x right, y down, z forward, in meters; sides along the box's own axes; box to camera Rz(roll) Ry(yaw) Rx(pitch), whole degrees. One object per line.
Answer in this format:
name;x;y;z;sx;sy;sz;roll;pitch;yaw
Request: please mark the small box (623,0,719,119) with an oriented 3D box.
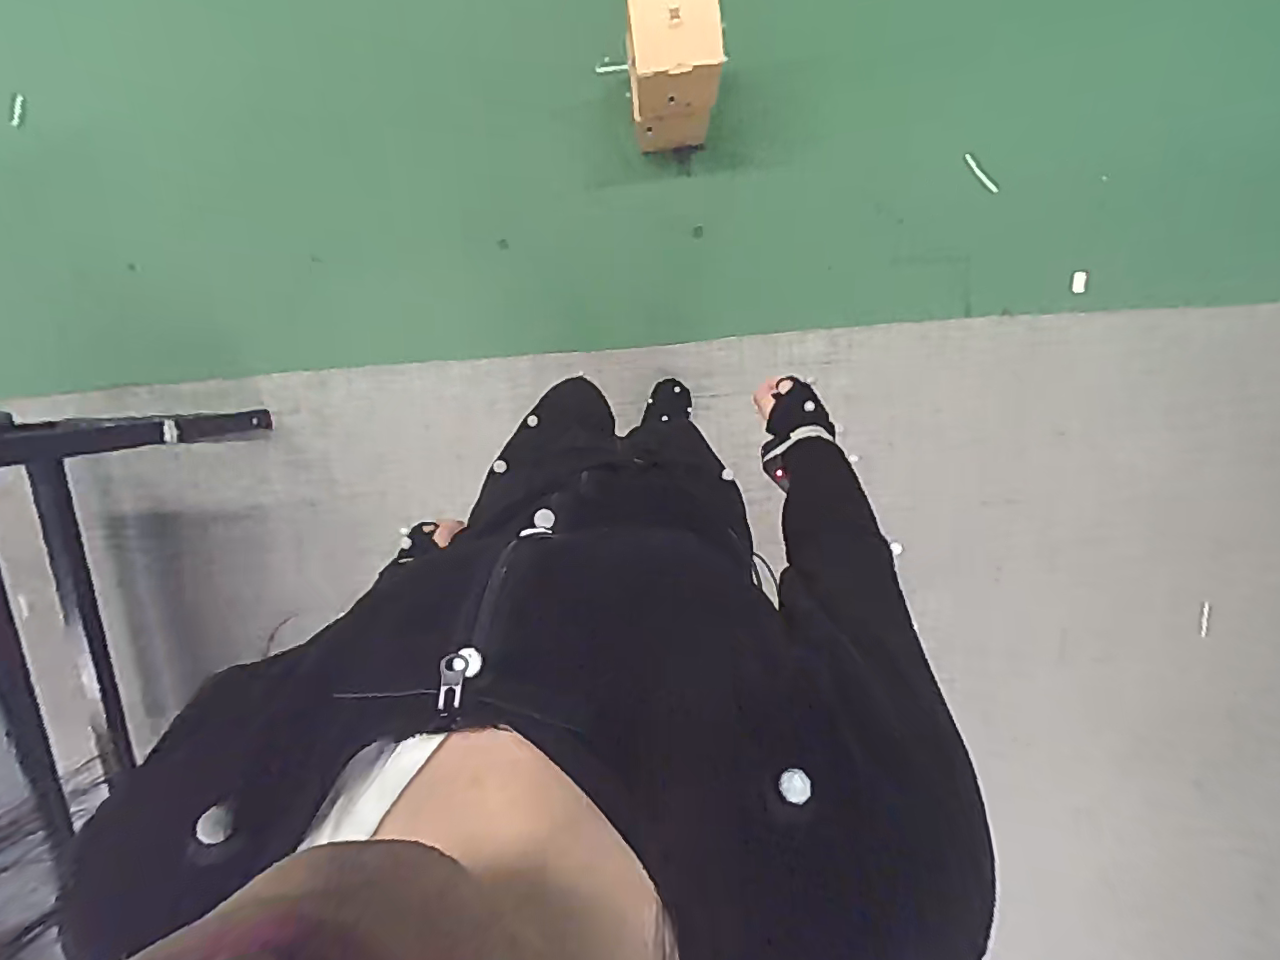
small box;0.057;-0.857;1.069;0.168;0.176;0.179;-8;101;2
